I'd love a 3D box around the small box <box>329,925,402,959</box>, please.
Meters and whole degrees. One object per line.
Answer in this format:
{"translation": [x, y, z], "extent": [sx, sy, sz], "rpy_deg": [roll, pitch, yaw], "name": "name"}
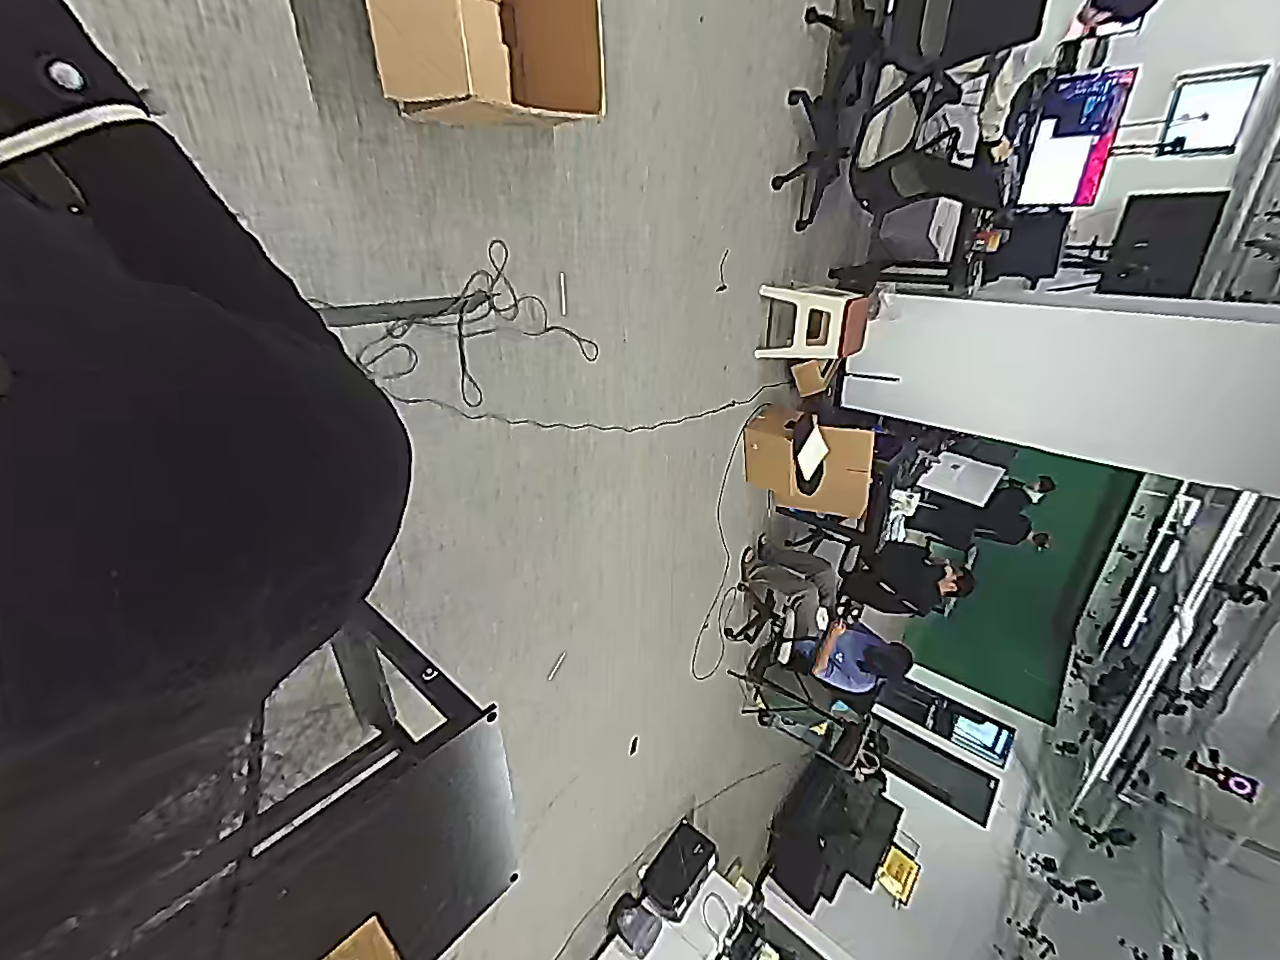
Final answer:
{"translation": [-0.509, 0.983, 0.991], "extent": [0.168, 0.176, 0.179], "rpy_deg": [-26, 125, -43], "name": "small box"}
